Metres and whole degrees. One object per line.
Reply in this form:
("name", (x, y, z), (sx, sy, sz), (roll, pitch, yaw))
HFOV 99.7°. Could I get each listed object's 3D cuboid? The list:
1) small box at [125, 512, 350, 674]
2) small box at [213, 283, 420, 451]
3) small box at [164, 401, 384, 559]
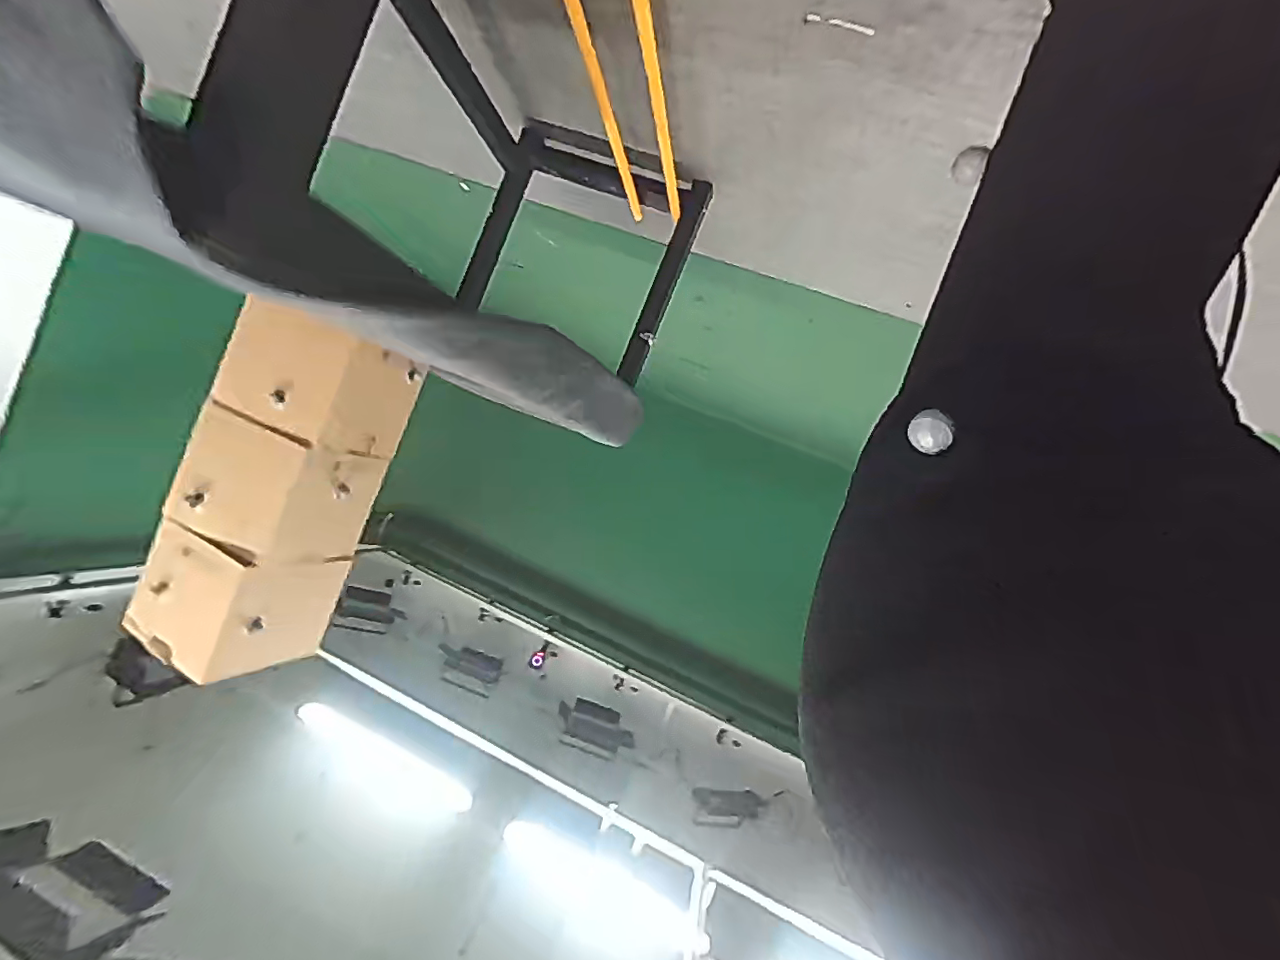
("small box", (-0.569, 0.147, 0.782), (0.168, 0.176, 0.179), (25, -177, 17))
("small box", (-0.443, -0.155, 0.772), (0.179, 0.176, 0.168), (24, -179, 9))
("small box", (-0.510, -0.005, 0.776), (0.179, 0.176, 0.168), (23, -178, 12))
